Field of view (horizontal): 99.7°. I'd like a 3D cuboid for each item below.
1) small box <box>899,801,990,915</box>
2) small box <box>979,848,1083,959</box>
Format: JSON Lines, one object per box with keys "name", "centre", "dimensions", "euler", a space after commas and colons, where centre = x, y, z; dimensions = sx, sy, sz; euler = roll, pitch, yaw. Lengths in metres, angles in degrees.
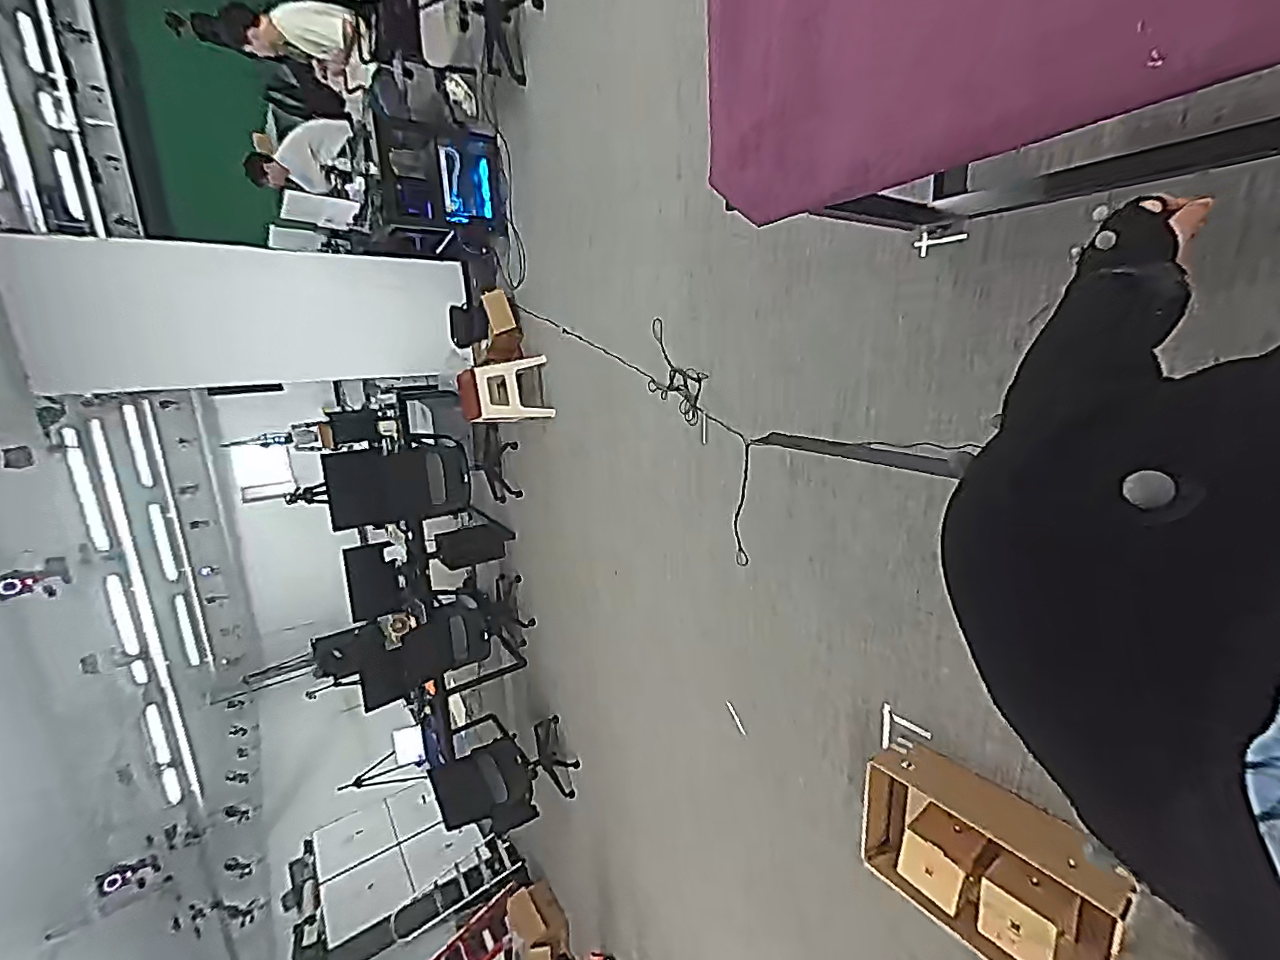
{"name": "small box", "centre": [0.888, 1.093, 1.576], "dimensions": [0.168, 0.176, 0.179], "euler": [23, 118, 50]}
{"name": "small box", "centre": [1.011, 1.110, 1.396], "dimensions": [0.168, 0.176, 0.179], "euler": [14, 111, 55]}
